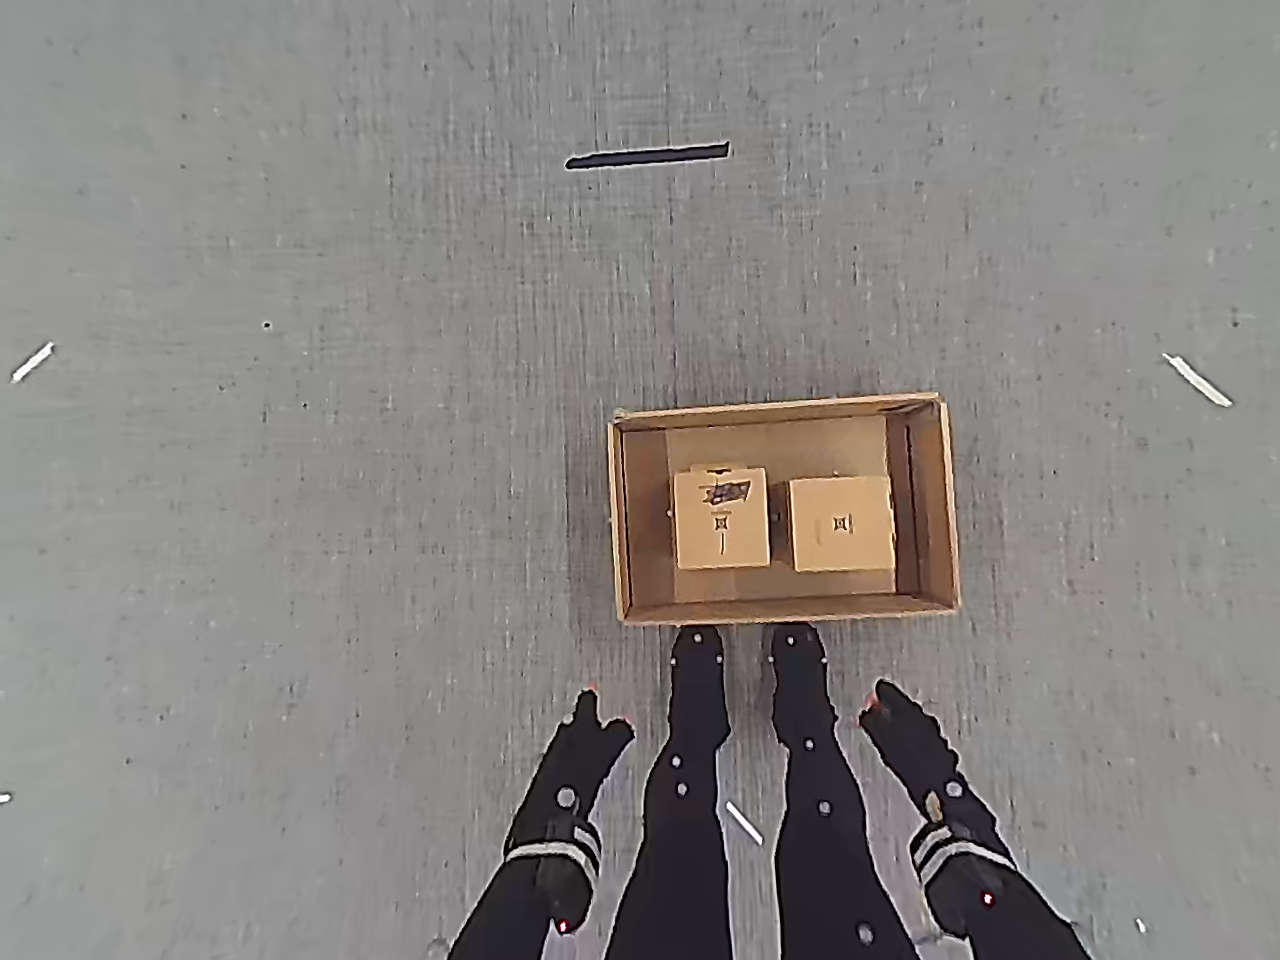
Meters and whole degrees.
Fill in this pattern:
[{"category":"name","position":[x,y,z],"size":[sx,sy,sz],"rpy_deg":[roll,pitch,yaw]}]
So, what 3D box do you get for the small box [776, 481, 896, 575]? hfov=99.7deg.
[{"category":"small box","position":[0.364,0.087,1.030],"size":[0.179,0.176,0.168],"rpy_deg":[-2,87,5]}]
